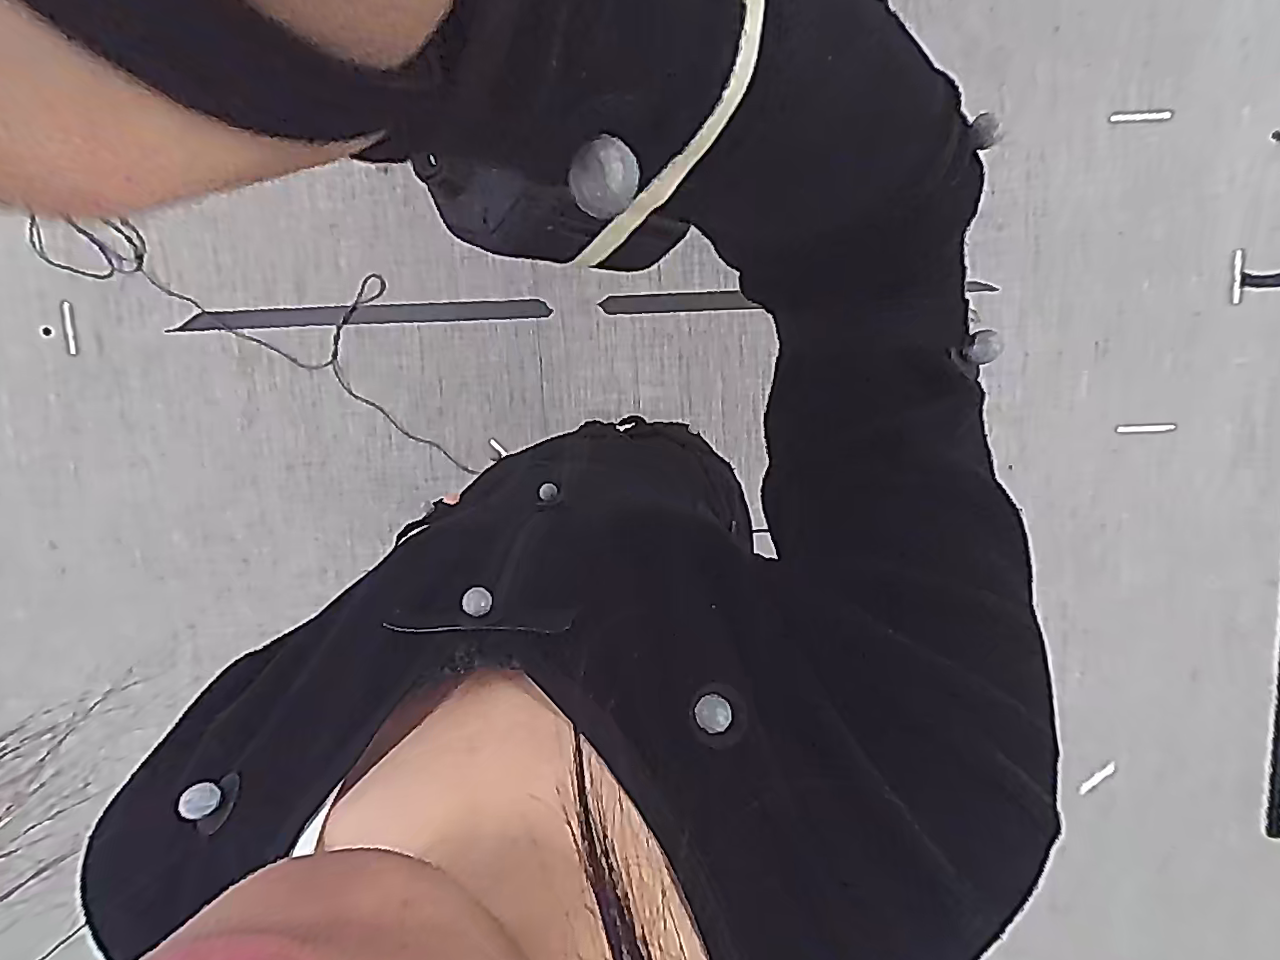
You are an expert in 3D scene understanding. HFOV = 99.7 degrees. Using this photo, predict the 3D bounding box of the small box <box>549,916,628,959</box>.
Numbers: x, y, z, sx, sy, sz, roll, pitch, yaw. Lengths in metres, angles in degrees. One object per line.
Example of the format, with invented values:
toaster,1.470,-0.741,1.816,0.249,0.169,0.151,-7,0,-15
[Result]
small box,-0.115,1.132,1.222,0.179,0.176,0.168,-4,94,1
